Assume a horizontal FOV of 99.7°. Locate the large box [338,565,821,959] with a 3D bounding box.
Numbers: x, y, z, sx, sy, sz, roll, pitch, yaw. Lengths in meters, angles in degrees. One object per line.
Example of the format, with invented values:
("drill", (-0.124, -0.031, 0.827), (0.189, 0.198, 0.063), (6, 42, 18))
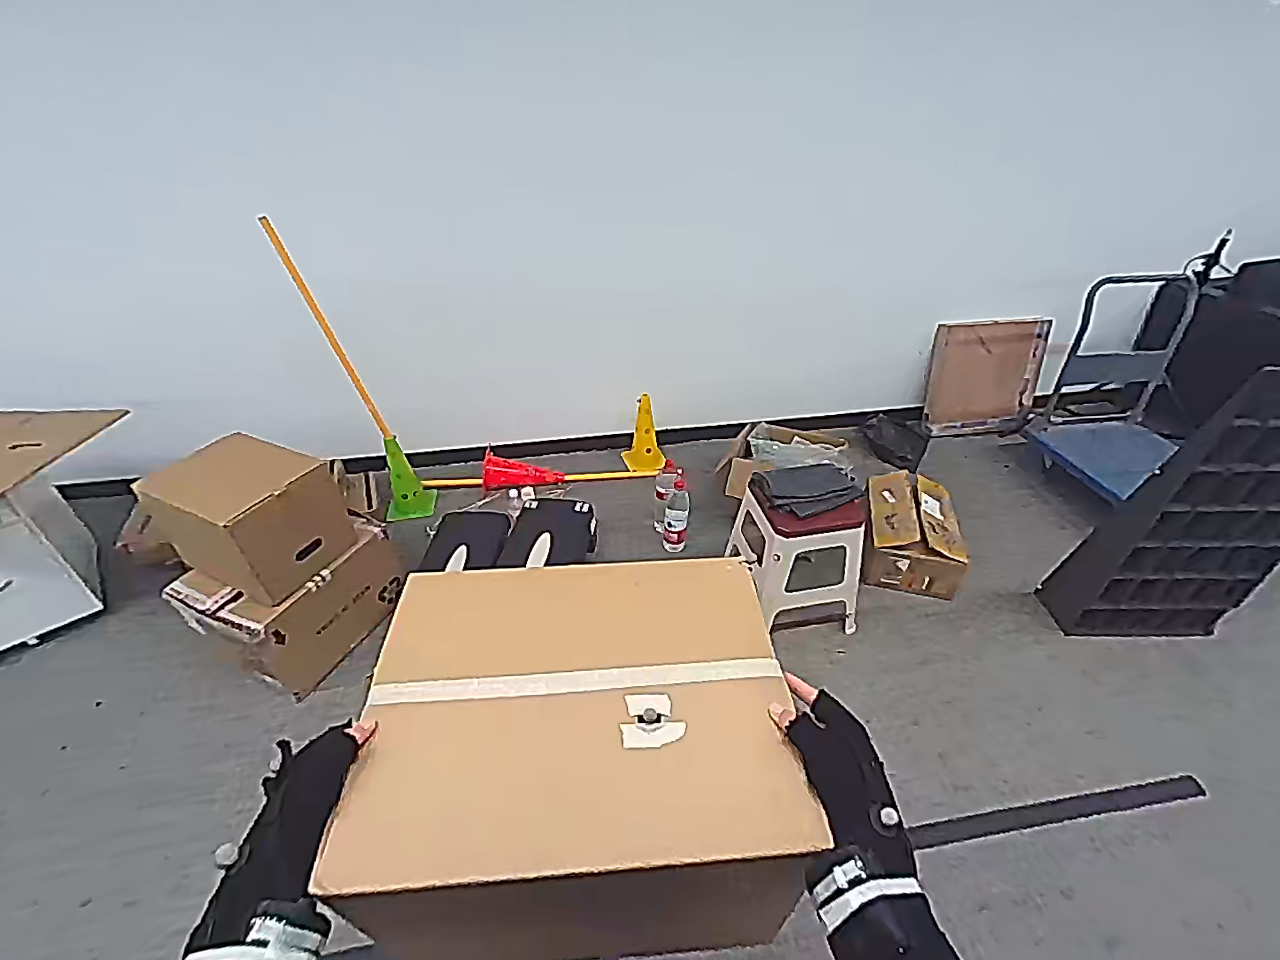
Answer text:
("large box", (-0.059, 0.327, 0.646), (0.408, 0.320, 0.320), (-2, 40, -4))
